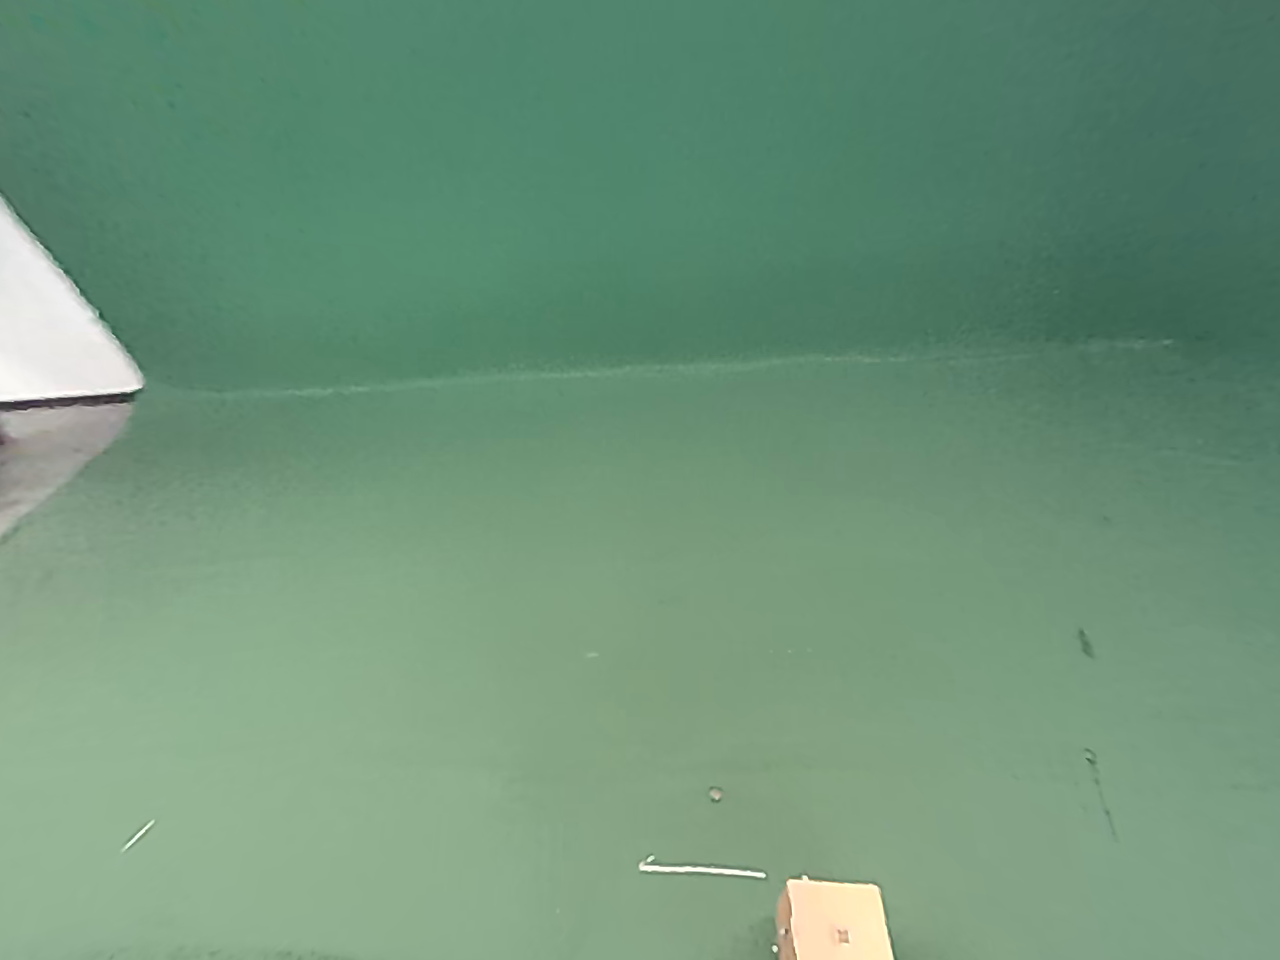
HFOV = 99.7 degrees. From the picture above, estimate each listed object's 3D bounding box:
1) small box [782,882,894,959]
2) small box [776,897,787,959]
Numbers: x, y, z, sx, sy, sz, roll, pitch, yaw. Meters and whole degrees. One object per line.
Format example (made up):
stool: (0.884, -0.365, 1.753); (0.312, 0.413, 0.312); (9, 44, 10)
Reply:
small box: (0.379, 0.903, 1.048); (0.179, 0.176, 0.168); (-1, 43, 7)
small box: (0.394, 1.021, 1.159); (0.179, 0.176, 0.168); (0, 43, 7)
